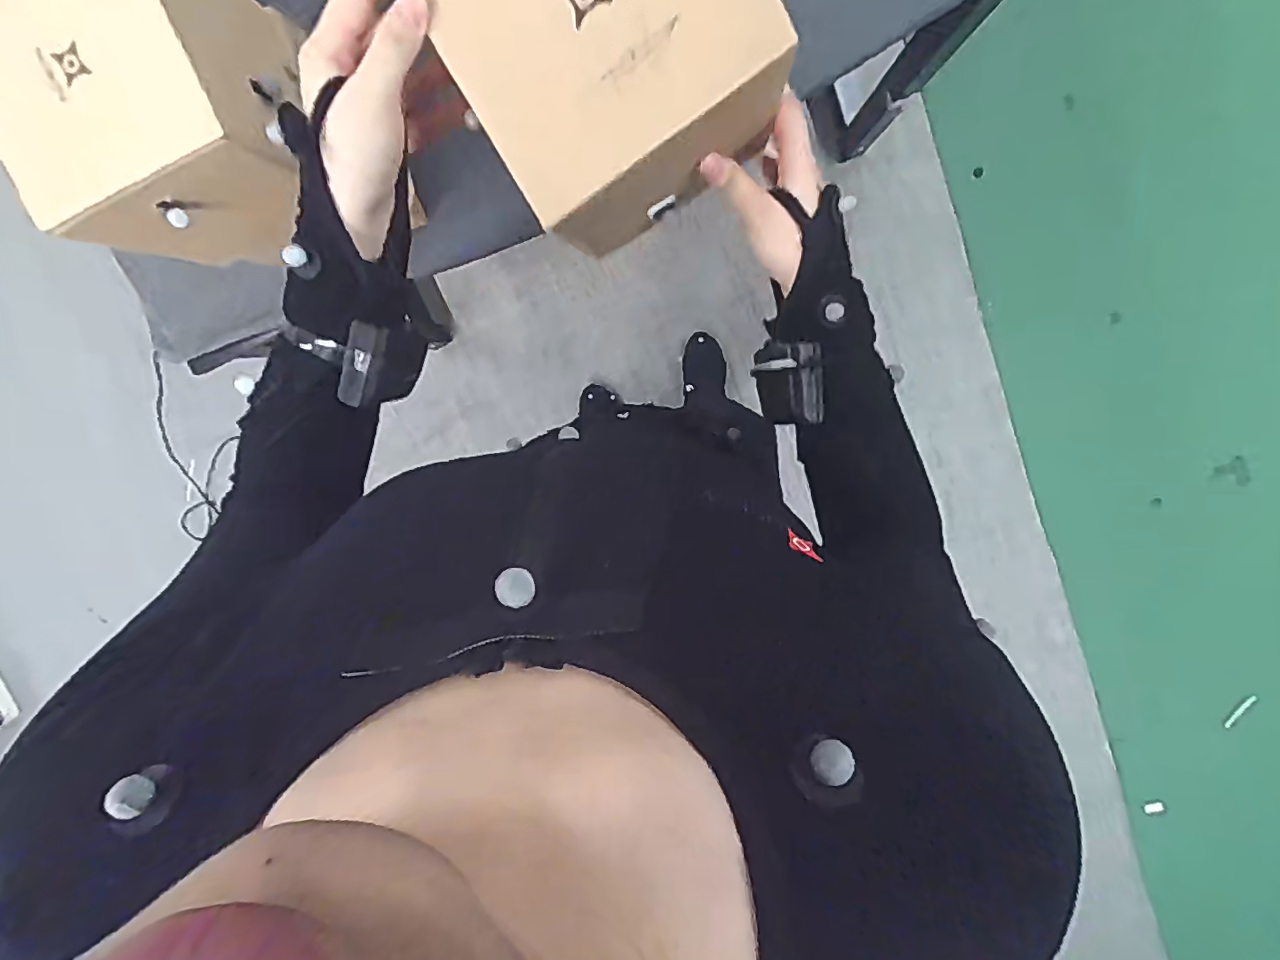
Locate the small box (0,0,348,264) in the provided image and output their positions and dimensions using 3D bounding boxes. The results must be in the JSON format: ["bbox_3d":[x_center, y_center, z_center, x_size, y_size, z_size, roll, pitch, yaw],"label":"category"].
[{"bbox_3d":[-0.384,-0.301,0.454,0.179,0.176,0.168,-19,102,10],"label":"small box"}]

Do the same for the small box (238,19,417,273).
[{"bbox_3d":[-0.381,-0.350,0.609,0.179,0.176,0.168,-18,102,10],"label":"small box"}]
